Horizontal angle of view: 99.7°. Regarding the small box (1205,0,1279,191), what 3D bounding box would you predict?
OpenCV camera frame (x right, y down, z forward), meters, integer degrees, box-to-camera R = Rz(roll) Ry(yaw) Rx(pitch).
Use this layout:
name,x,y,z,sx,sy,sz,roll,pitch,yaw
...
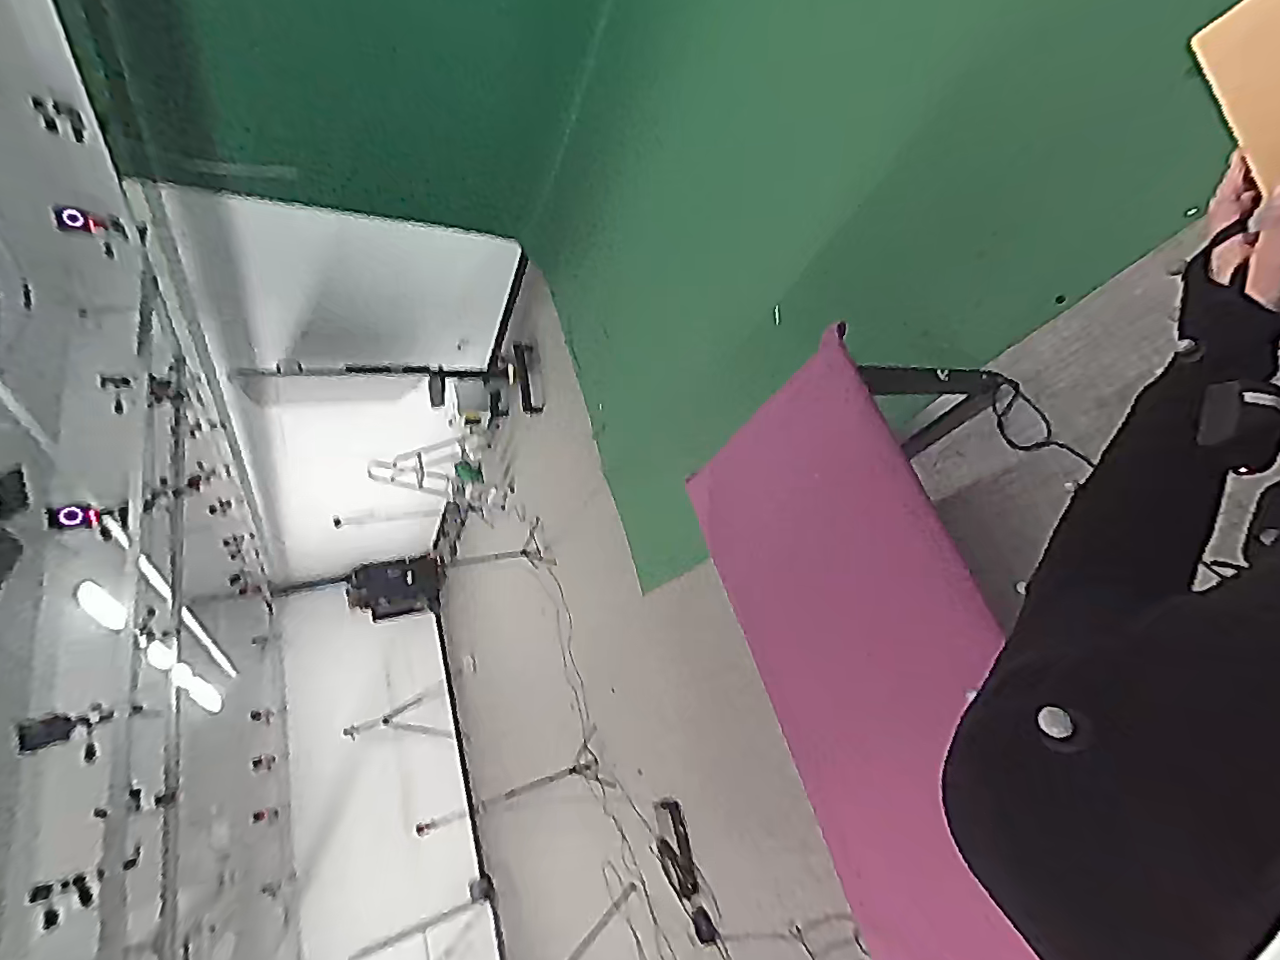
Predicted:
name,x,y,z,sx,sy,sz,roll,pitch,yaw
small box,0.602,-0.336,0.422,0.168,0.176,0.179,-27,74,57
